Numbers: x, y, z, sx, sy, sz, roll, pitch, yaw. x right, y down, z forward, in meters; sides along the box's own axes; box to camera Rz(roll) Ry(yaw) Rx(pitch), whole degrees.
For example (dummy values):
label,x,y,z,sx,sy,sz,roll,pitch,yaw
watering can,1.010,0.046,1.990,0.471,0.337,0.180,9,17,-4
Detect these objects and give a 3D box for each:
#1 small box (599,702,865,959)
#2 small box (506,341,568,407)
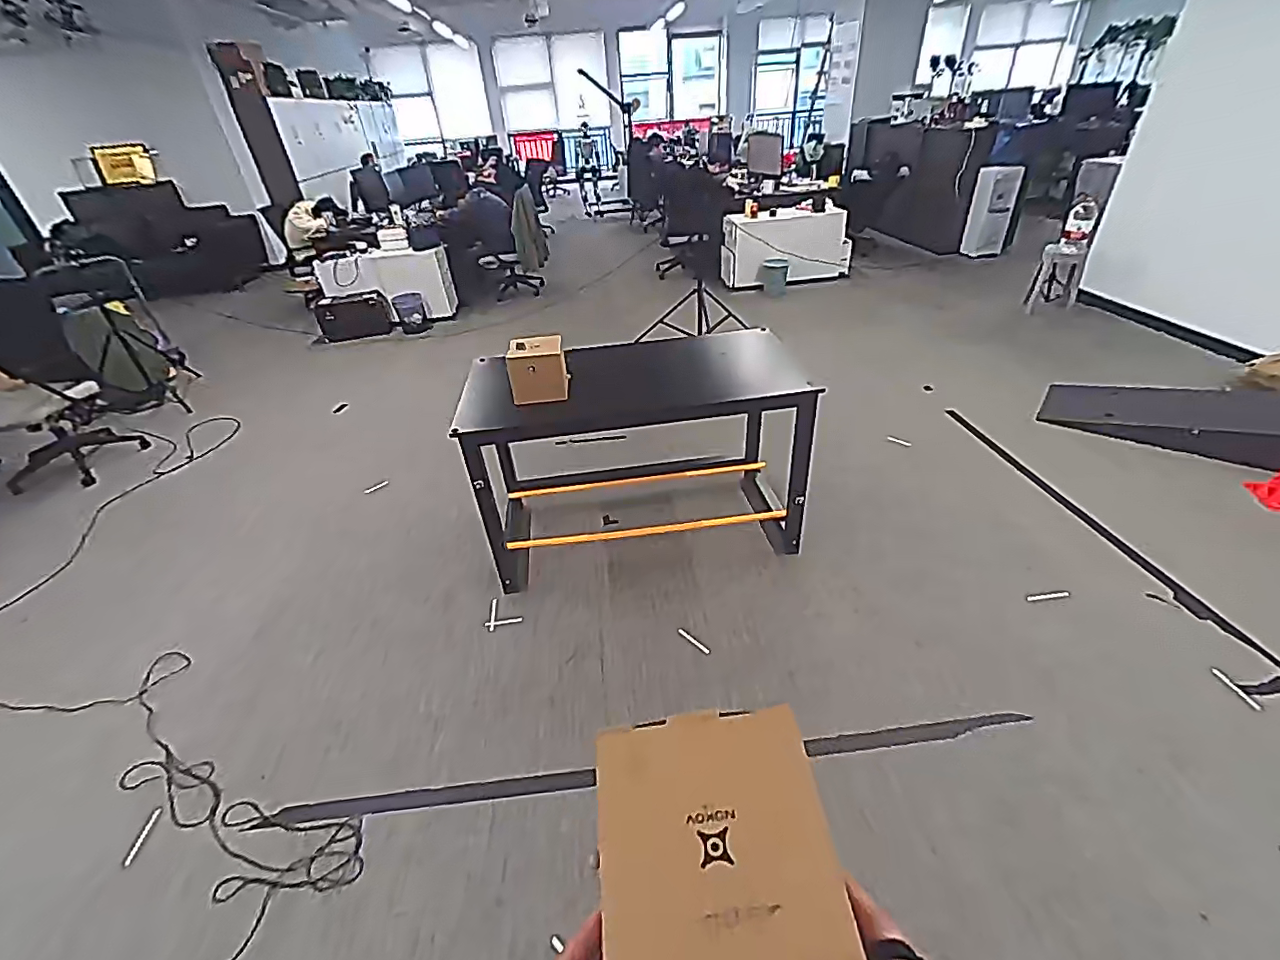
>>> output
label,x,y,z,sx,sy,sz,roll,pitch,yaw
small box,0.058,0.311,0.445,0.168,0.176,0.179,-7,45,-1
small box,-0.345,-0.359,1.842,0.179,0.176,0.168,-6,35,-3
